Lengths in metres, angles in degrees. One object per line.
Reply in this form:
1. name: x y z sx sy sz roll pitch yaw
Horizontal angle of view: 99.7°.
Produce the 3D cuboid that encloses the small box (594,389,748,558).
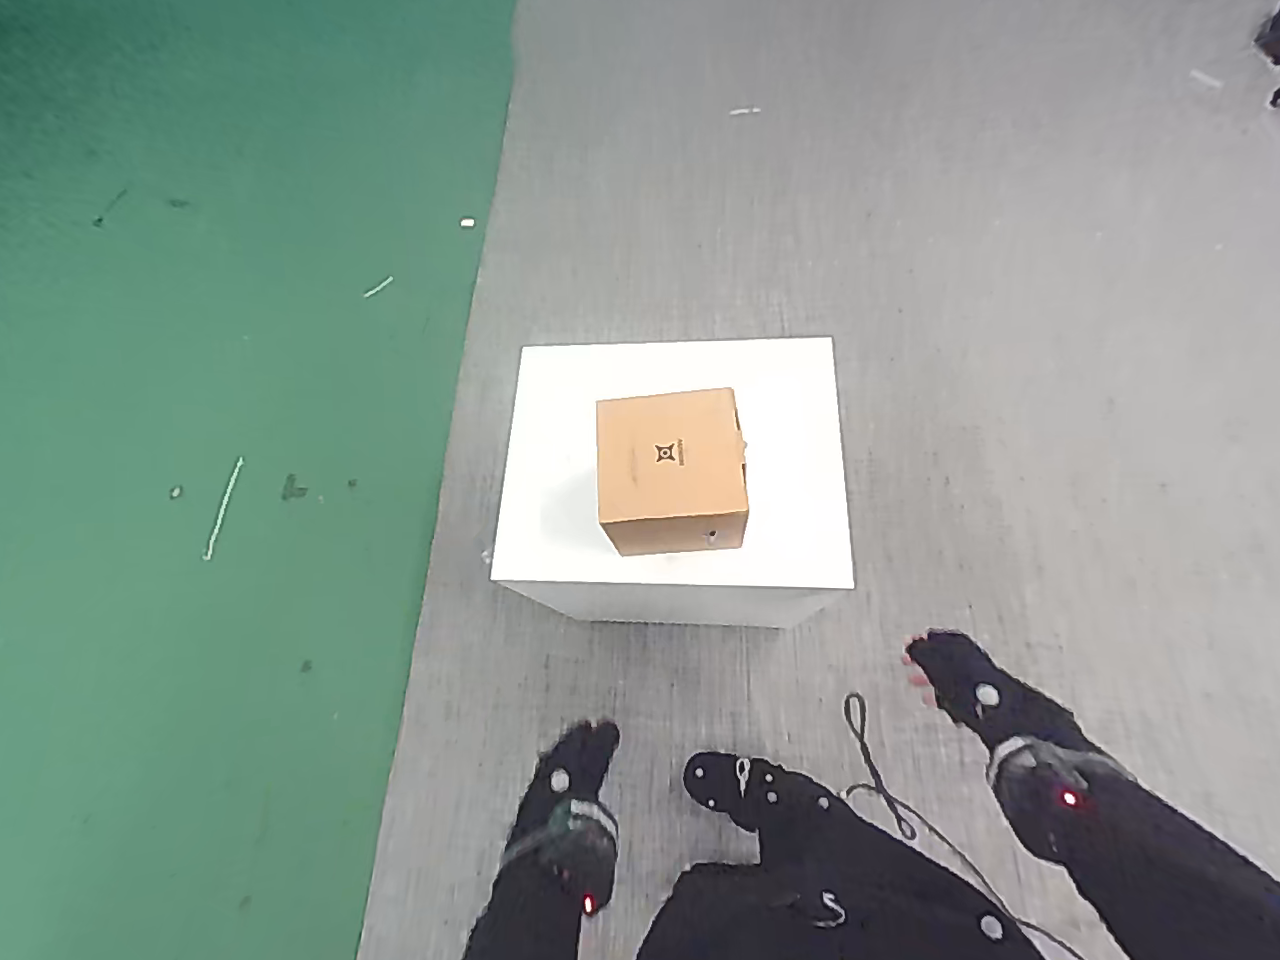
1. small box: 0.042 0.001 0.714 0.179 0.176 0.168 -6 67 7
